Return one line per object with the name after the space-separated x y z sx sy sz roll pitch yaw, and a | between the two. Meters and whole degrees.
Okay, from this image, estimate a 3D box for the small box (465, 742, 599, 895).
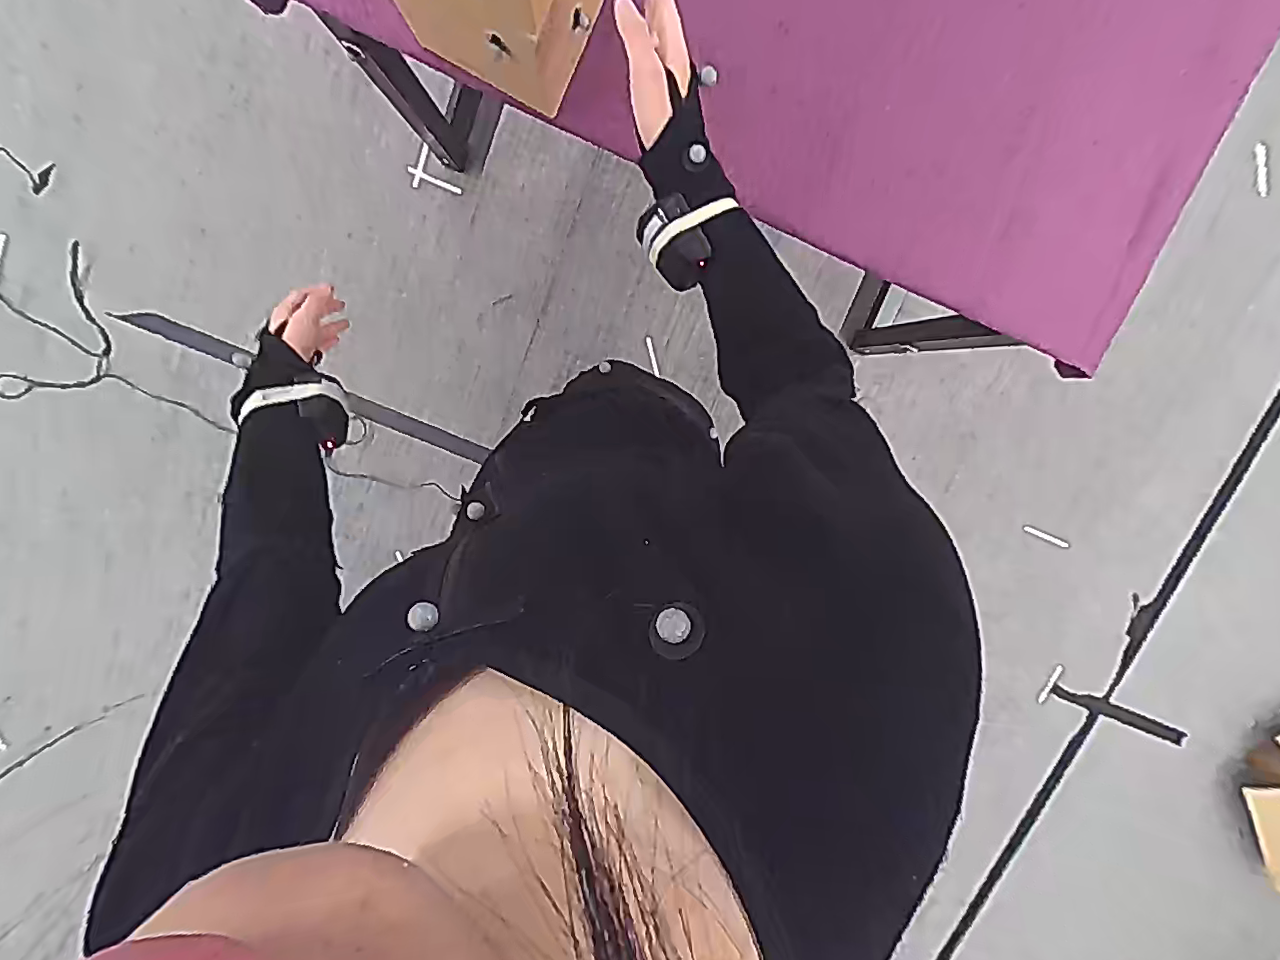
-0.175 0.598 0.931 0.168 0.176 0.179 23 101 -8 | small box

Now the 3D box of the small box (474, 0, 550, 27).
-0.126 -0.505 0.396 0.168 0.176 0.179 25 100 -8 | small box

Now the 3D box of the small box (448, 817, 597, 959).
-0.168 0.630 0.772 0.168 0.176 0.179 21 100 -7 | small box

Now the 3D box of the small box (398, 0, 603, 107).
-0.141 -0.531 0.558 0.179 0.176 0.168 26 99 -7 | small box

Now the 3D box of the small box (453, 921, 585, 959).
-0.163 0.664 0.613 0.168 0.176 0.179 21 100 -8 | small box
